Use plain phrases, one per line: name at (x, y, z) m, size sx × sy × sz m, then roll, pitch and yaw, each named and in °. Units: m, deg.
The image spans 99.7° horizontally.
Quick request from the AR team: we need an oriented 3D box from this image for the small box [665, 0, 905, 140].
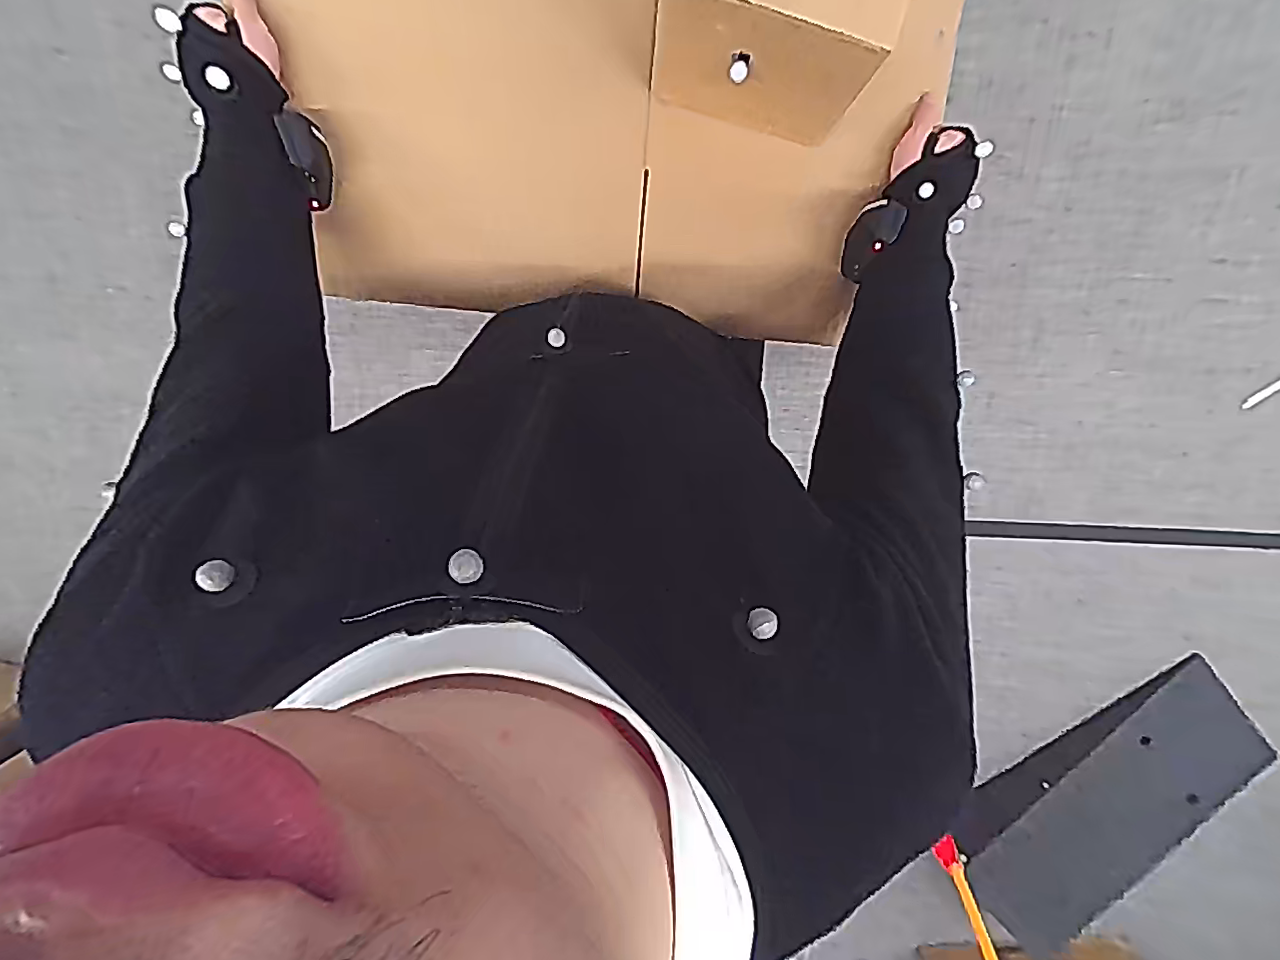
small box at (0.124, -0.429, 0.464) m, size 0.179 × 0.176 × 0.168 m, roll 16°, pitch 100°, yaw -2°
